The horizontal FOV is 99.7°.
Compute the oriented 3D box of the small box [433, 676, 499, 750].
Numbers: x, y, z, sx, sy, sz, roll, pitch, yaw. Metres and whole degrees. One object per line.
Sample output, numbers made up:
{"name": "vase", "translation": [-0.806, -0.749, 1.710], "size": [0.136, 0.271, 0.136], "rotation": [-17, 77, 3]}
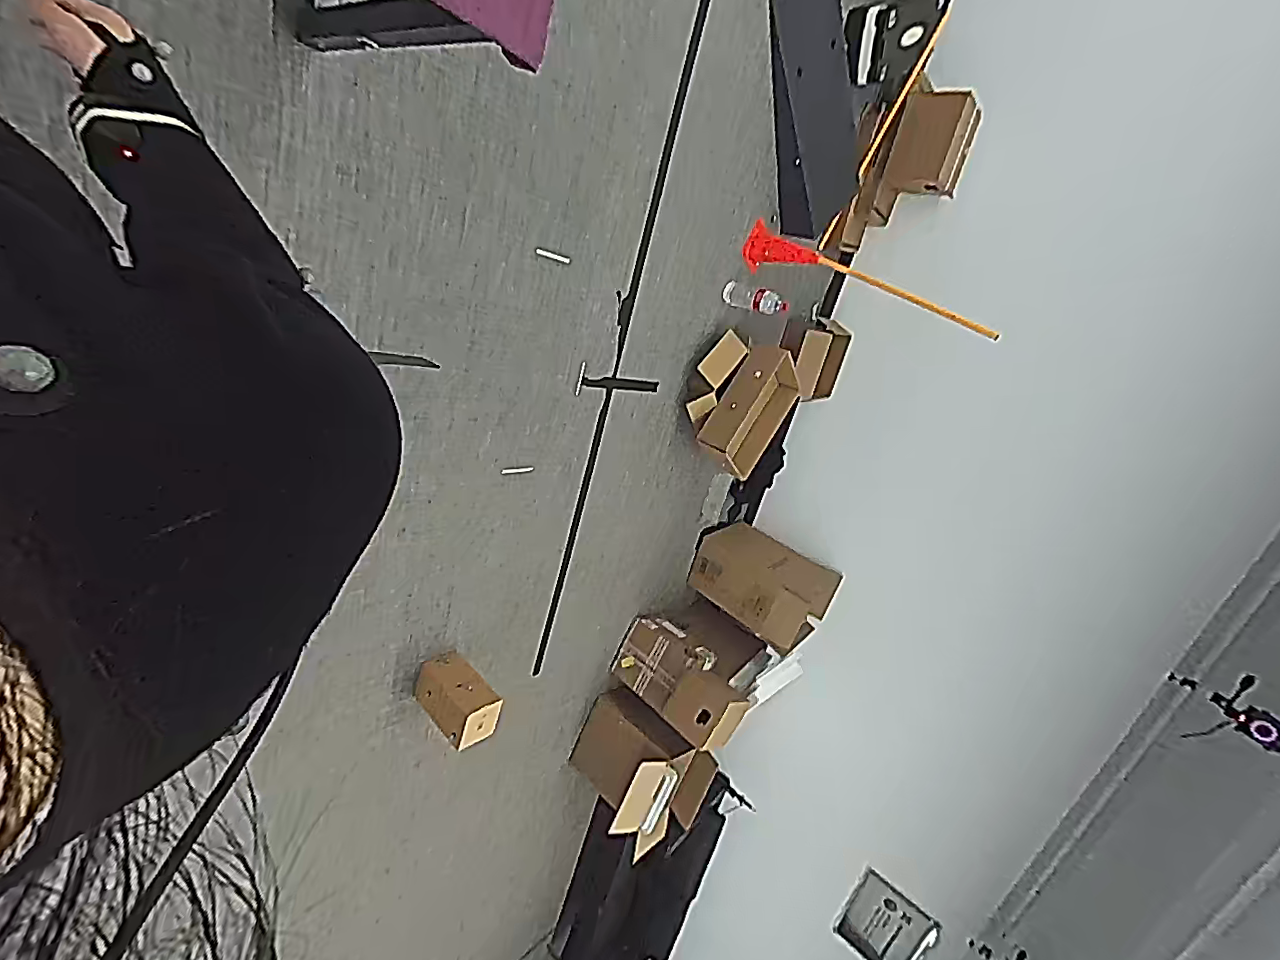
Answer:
{"name": "small box", "translation": [-0.687, 0.906, 2.120], "size": [0.168, 0.176, 0.179], "rotation": [-4, 117, -54]}
